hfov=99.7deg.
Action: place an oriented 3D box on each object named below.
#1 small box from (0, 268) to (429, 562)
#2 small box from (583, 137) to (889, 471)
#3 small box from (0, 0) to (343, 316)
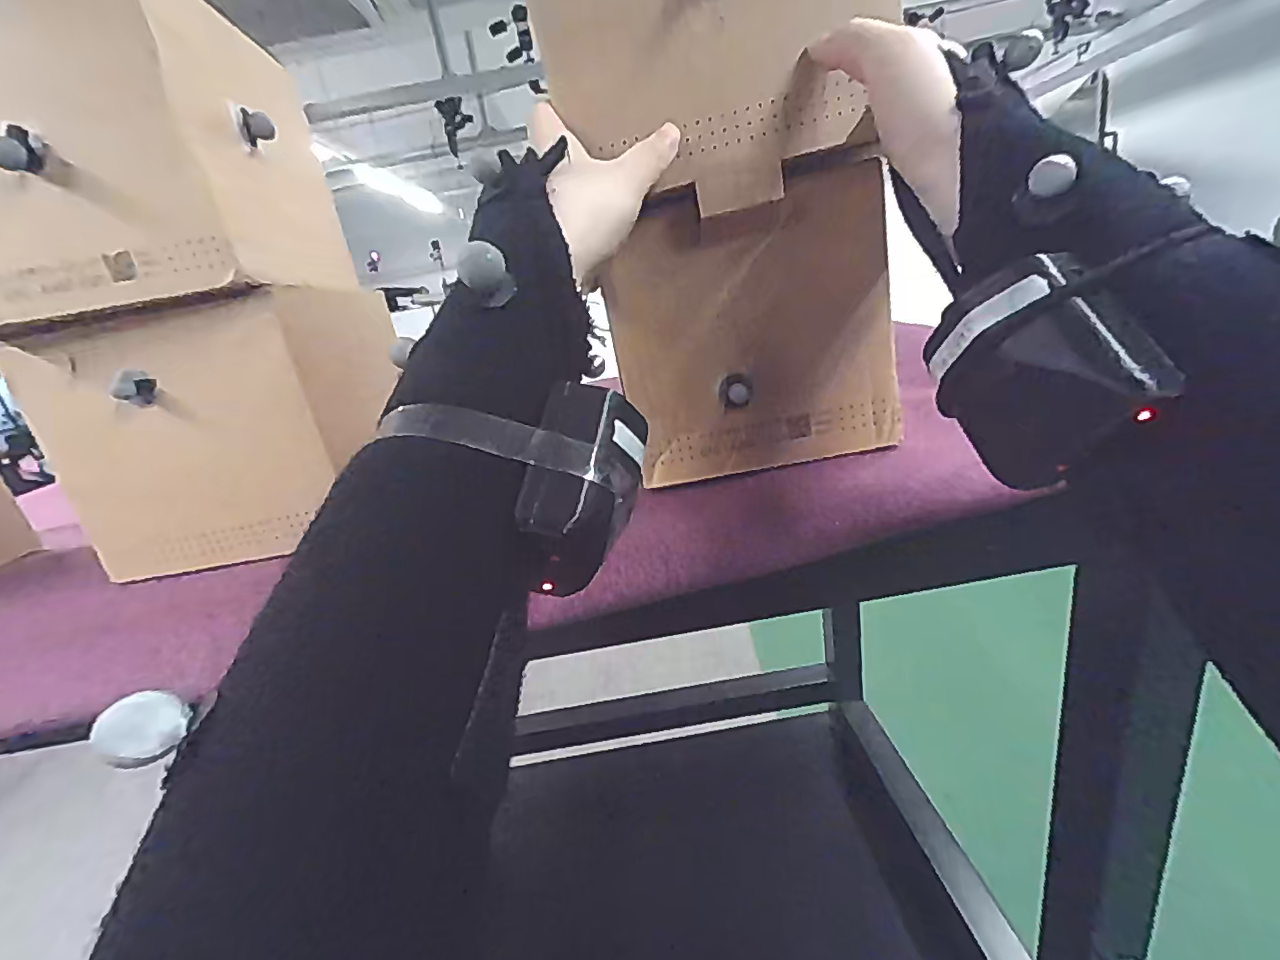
[{"bbox_3d":[-0.291,-0.051,0.409,0.179,0.176,0.168,-10,18,1],"label":"small box"},{"bbox_3d":[0.064,-0.117,0.396,0.168,0.176,0.179,-11,18,4],"label":"small box"},{"bbox_3d":[-0.325,-0.200,0.347,0.168,0.176,0.179,-12,19,-3],"label":"small box"}]
